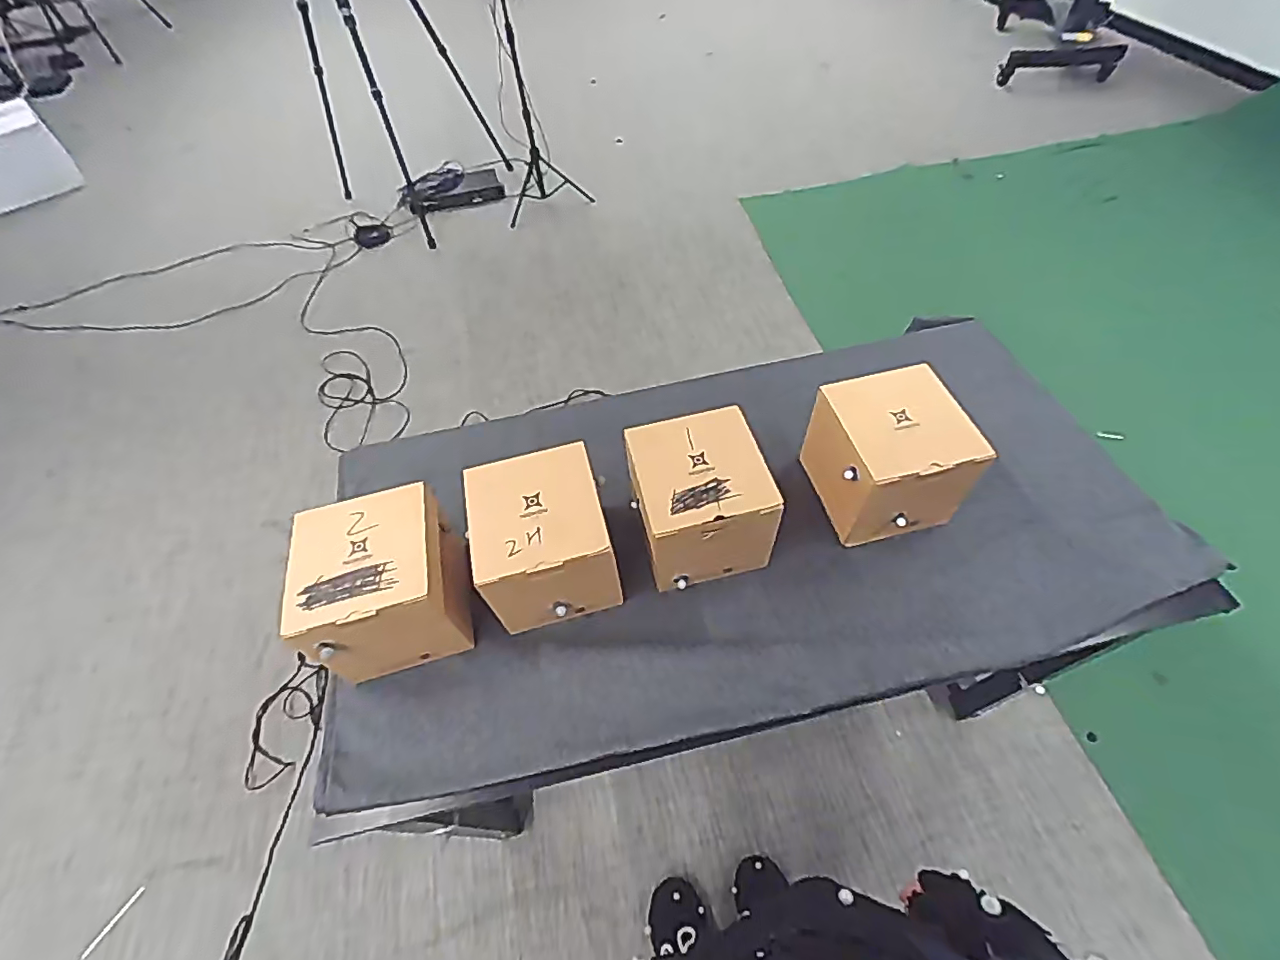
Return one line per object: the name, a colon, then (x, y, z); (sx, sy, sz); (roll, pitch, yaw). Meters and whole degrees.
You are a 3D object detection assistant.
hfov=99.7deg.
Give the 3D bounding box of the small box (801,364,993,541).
small box: (0.354, -0.037, 0.789); (0.168, 0.176, 0.179); (-13, 56, -5)
